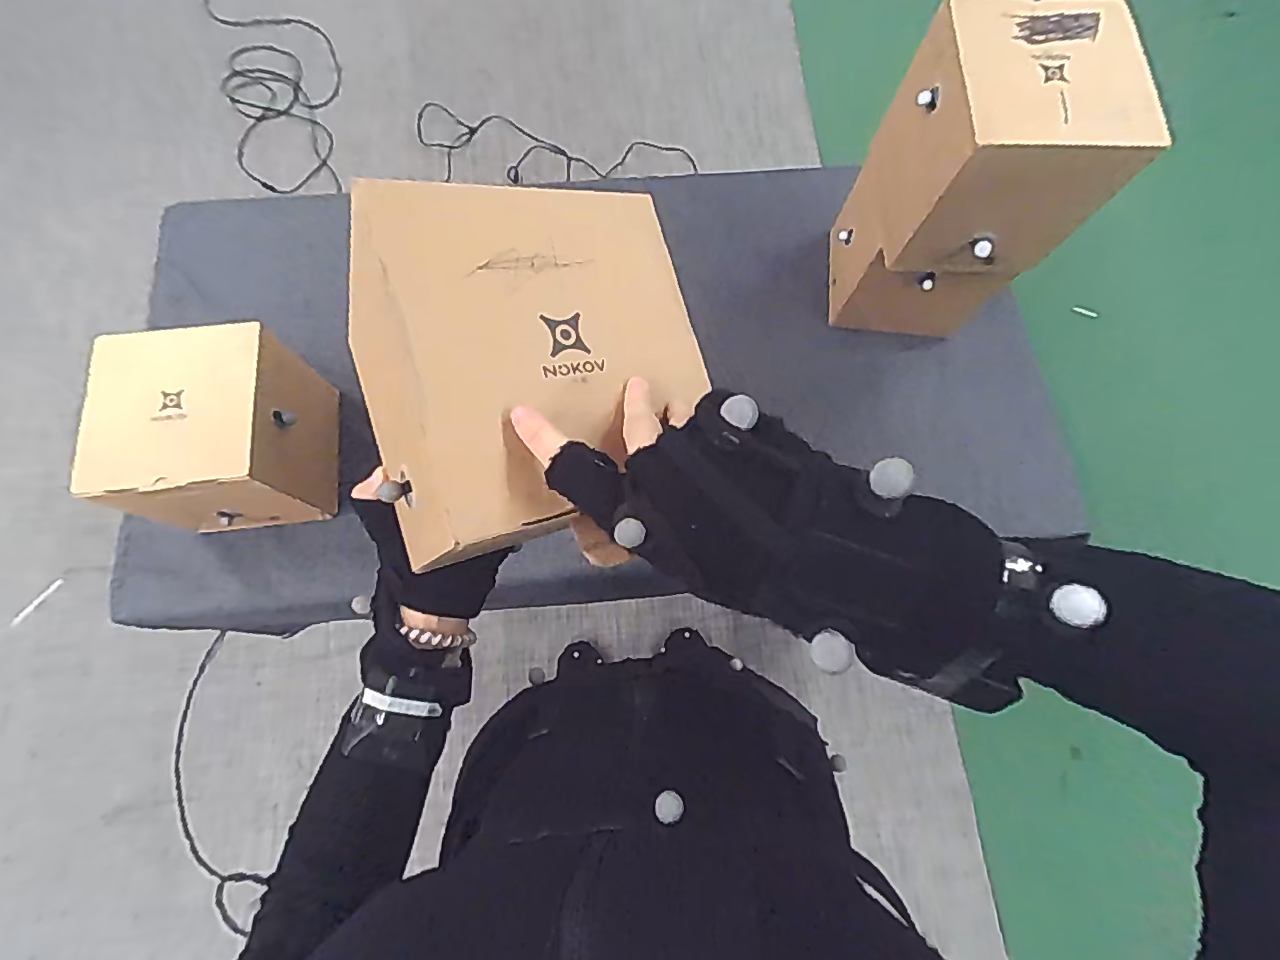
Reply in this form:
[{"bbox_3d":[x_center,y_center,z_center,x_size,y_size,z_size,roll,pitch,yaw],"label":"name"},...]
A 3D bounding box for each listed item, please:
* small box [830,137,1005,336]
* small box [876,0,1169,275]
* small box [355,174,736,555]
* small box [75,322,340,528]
[{"bbox_3d":[0.362,-0.308,0.710,0.179,0.176,0.168,7,74,0],"label":"small box"},{"bbox_3d":[0.357,-0.336,0.547,0.168,0.176,0.179,1,75,0],"label":"small box"},{"bbox_3d":[-0.073,-0.056,0.346,0.168,0.176,0.179,-14,85,-31],"label":"small box"},{"bbox_3d":[-0.466,-0.054,0.616,0.168,0.176,0.179,-7,74,-4],"label":"small box"}]
